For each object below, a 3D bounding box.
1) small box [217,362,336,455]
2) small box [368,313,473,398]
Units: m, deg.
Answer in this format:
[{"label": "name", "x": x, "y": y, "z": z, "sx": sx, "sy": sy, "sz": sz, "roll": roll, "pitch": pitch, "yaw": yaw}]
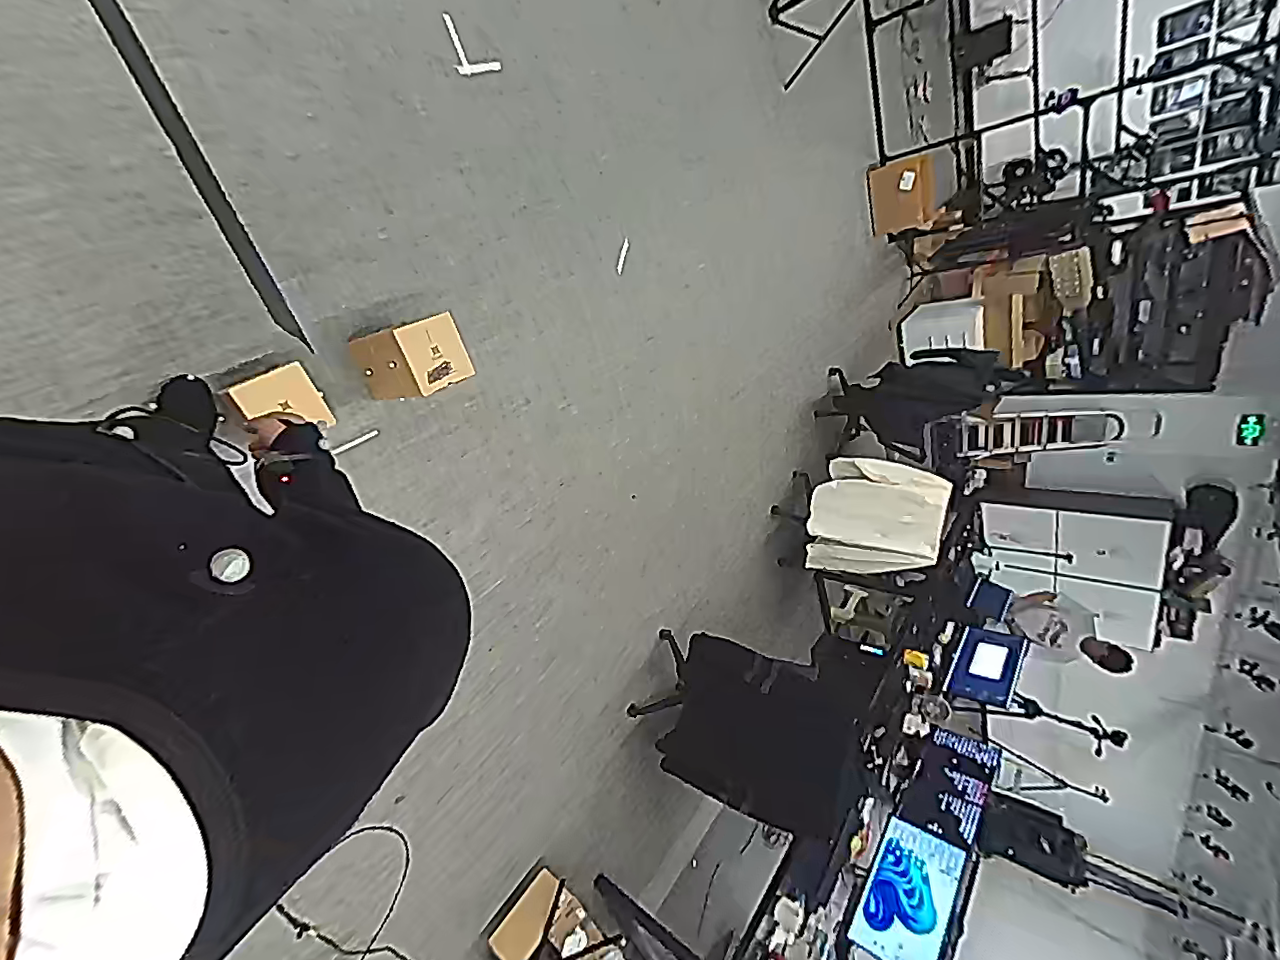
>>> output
[{"label": "small box", "x": -0.910, "y": -0.177, "z": 1.352, "sx": 0.168, "sy": 0.176, "sz": 0.179, "roll": -42, "pitch": 123, "yaw": -35}, {"label": "small box", "x": -0.583, "y": -0.328, "z": 1.438, "sx": 0.168, "sy": 0.176, "sz": 0.179, "roll": -38, "pitch": 120, "yaw": -38}]
